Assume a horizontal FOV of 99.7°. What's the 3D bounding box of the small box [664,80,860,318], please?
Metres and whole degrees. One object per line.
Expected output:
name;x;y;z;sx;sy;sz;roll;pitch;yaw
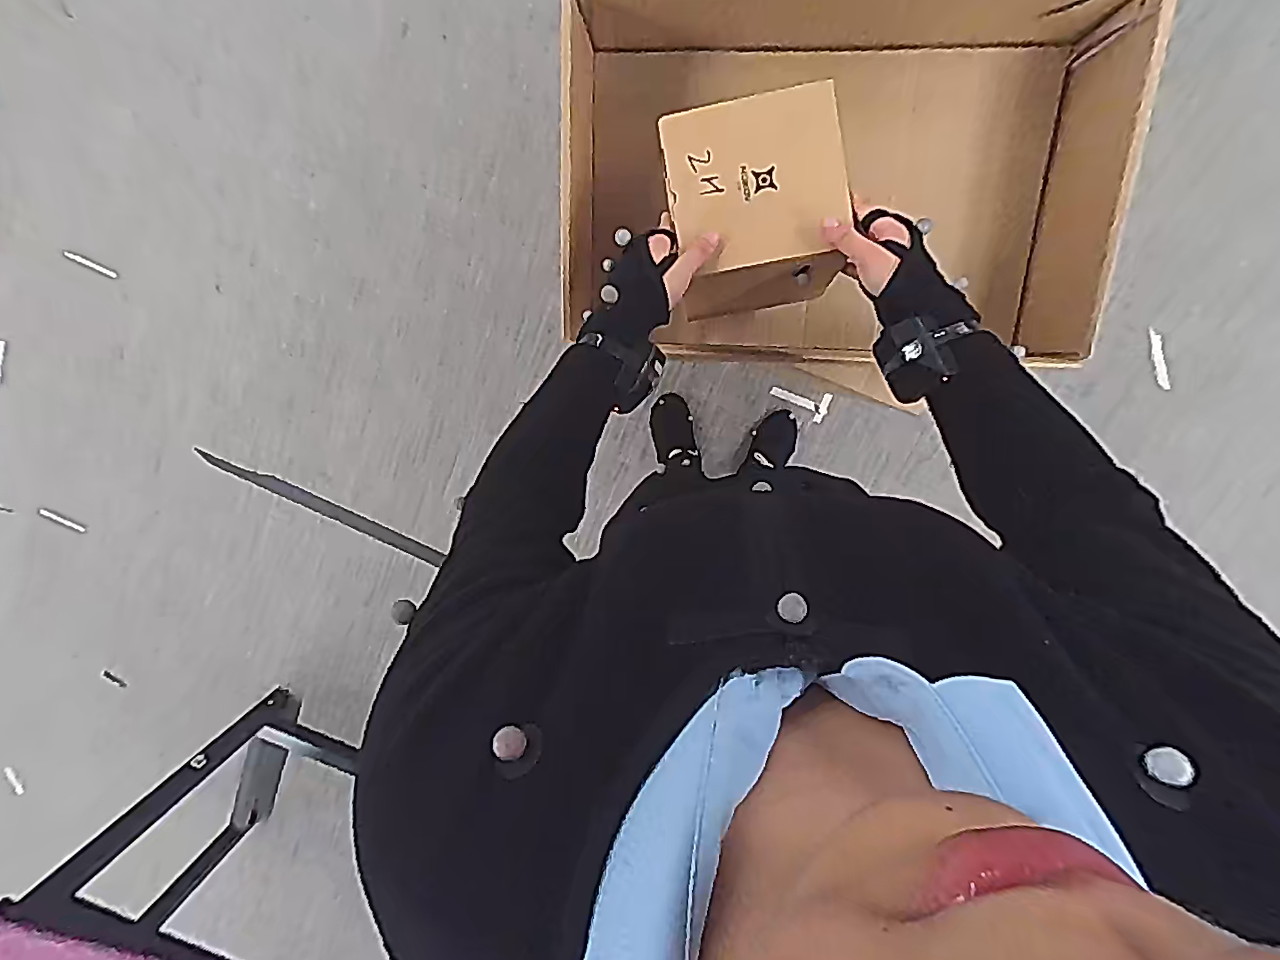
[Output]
small box;0.127;-0.296;0.609;0.179;0.176;0.168;-8;90;7
